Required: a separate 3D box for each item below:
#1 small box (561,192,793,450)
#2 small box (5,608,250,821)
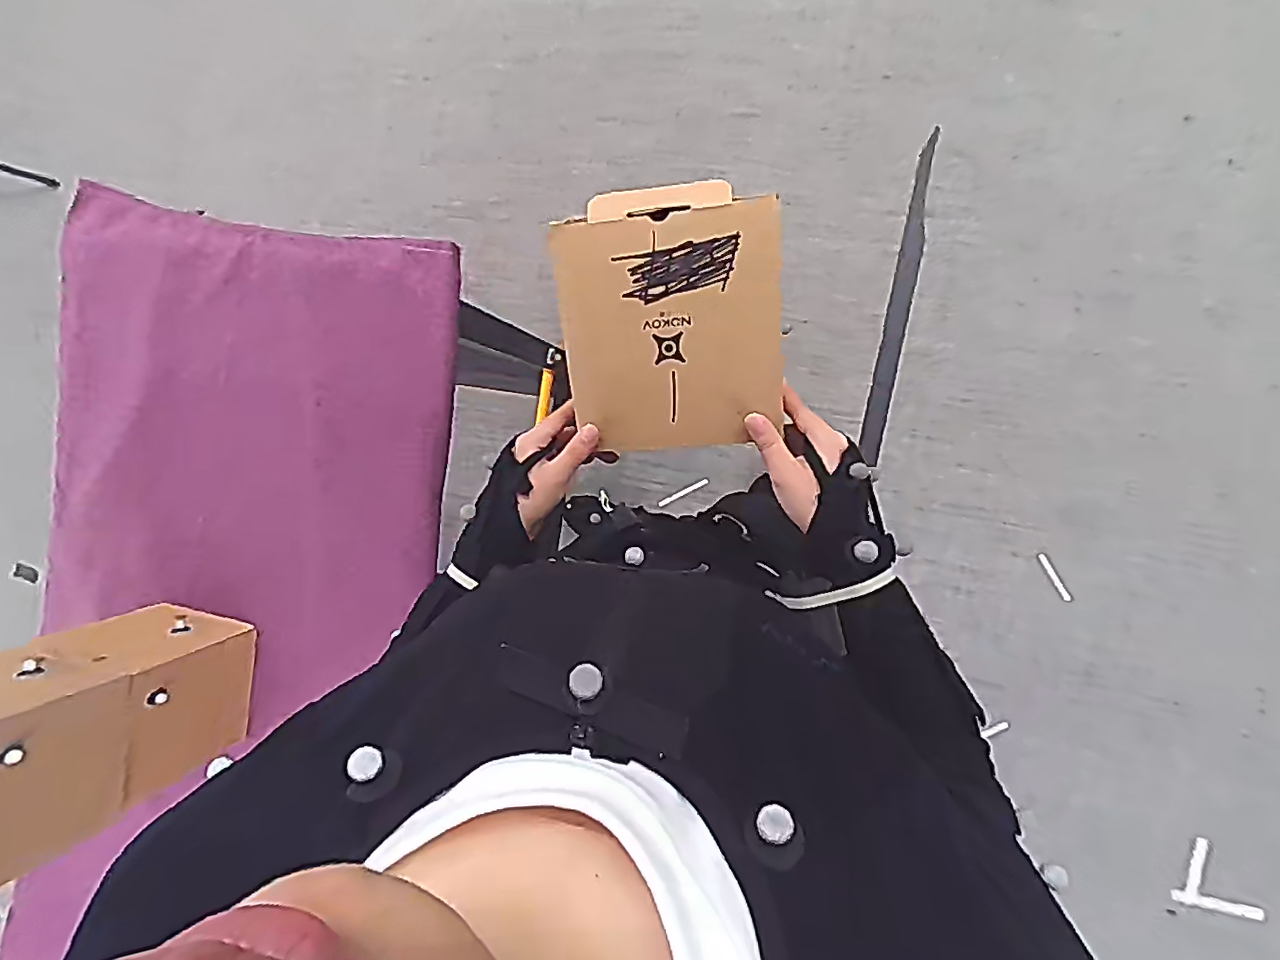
[{"bbox_3d":[0.039,-0.135,0.476,0.168,0.176,0.179,-2,110,9],"label":"small box"},{"bbox_3d":[-0.649,0.287,0.701,0.168,0.176,0.179,10,94,10],"label":"small box"}]
